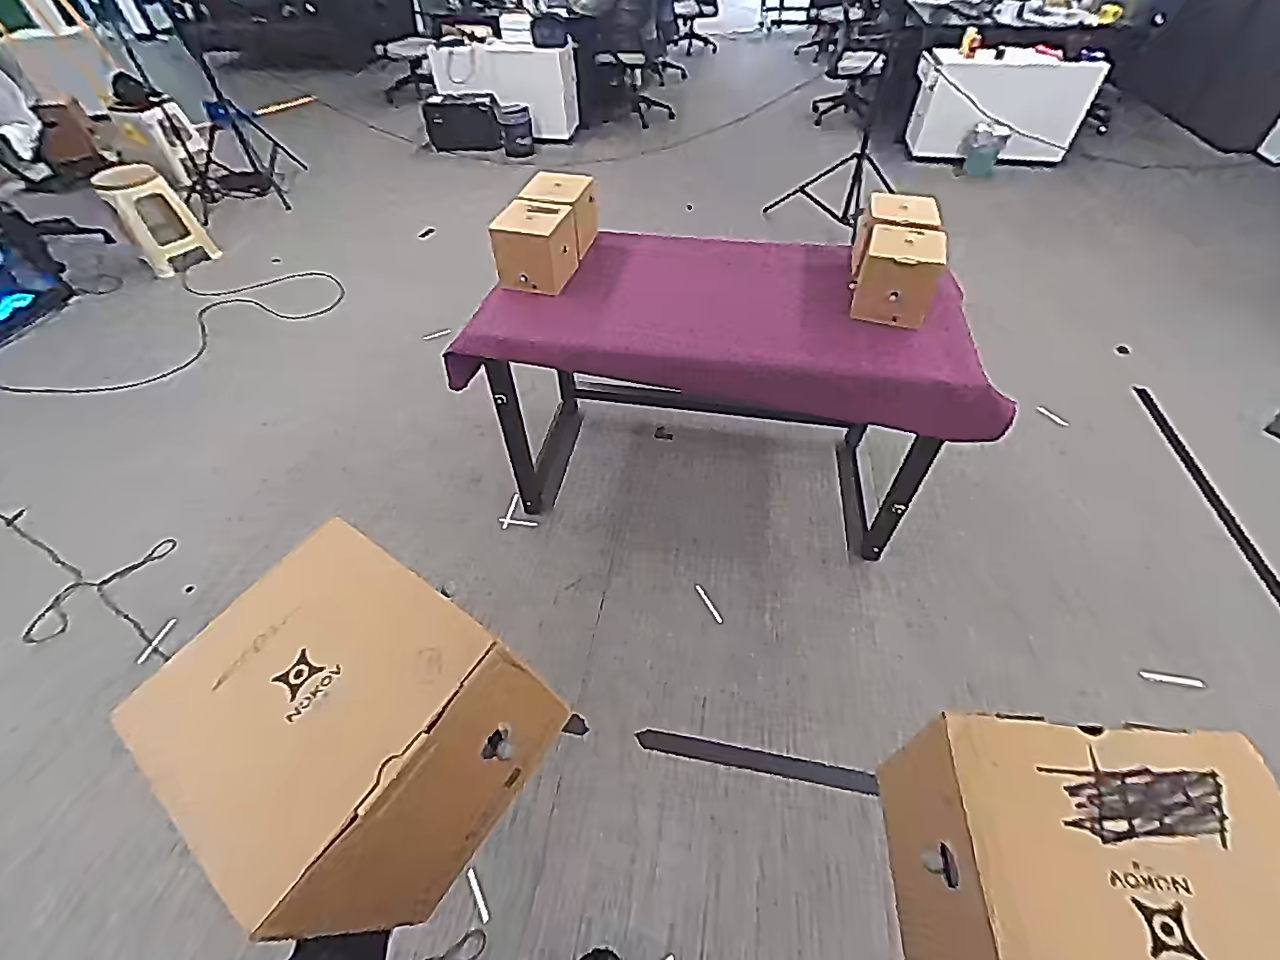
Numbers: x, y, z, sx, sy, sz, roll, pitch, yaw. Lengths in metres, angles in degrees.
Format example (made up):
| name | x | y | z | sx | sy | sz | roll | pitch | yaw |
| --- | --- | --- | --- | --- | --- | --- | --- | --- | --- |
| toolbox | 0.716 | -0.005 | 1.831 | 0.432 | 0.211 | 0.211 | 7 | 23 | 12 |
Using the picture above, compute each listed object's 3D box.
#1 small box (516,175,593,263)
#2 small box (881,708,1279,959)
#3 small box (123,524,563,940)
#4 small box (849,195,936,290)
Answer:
| name | x | y | z | sx | sy | sz | roll | pitch | yaw |
| --- | --- | --- | --- | --- | --- | --- | --- | --- | --- |
| small box | -0.237 | -0.755 | 1.563 | 0.168 | 0.176 | 0.179 | 10 | 51 | 10 |
| small box | 0.264 | 0.261 | 0.333 | 0.168 | 0.176 | 0.179 | 1 | 52 | 8 |
| small box | -0.180 | 0.167 | 0.380 | 0.179 | 0.176 | 0.168 | 25 | 61 | 27 |
| small box | 0.666 | -0.636 | 1.450 | 0.168 | 0.176 | 0.179 | 11 | 49 | 9 |
